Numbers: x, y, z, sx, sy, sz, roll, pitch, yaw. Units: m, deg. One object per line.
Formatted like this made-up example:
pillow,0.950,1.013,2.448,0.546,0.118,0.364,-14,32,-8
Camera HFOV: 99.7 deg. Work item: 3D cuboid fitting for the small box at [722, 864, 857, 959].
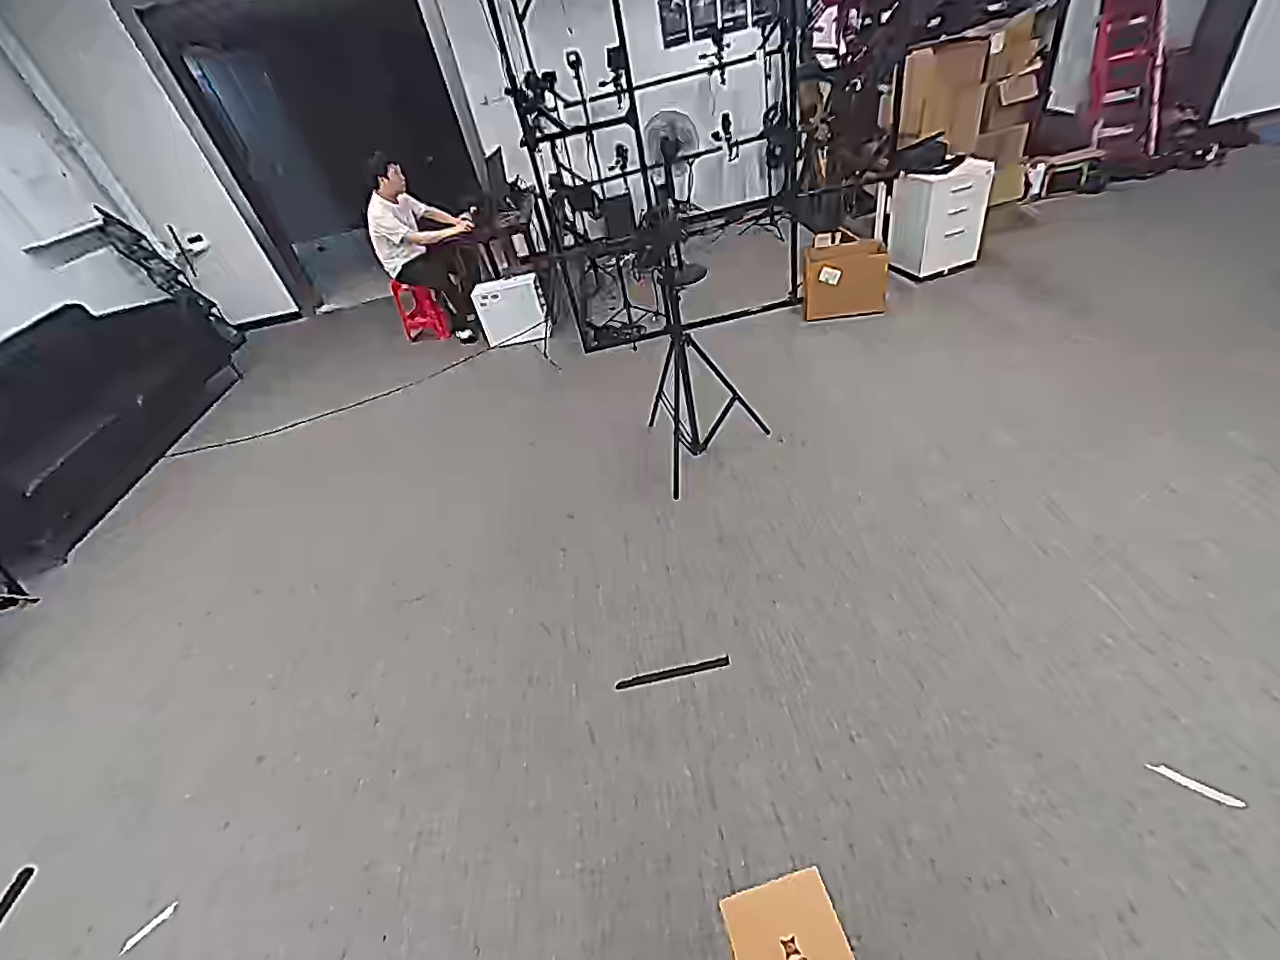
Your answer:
small box,0.235,0.738,0.831,0.168,0.176,0.179,-17,39,-4
